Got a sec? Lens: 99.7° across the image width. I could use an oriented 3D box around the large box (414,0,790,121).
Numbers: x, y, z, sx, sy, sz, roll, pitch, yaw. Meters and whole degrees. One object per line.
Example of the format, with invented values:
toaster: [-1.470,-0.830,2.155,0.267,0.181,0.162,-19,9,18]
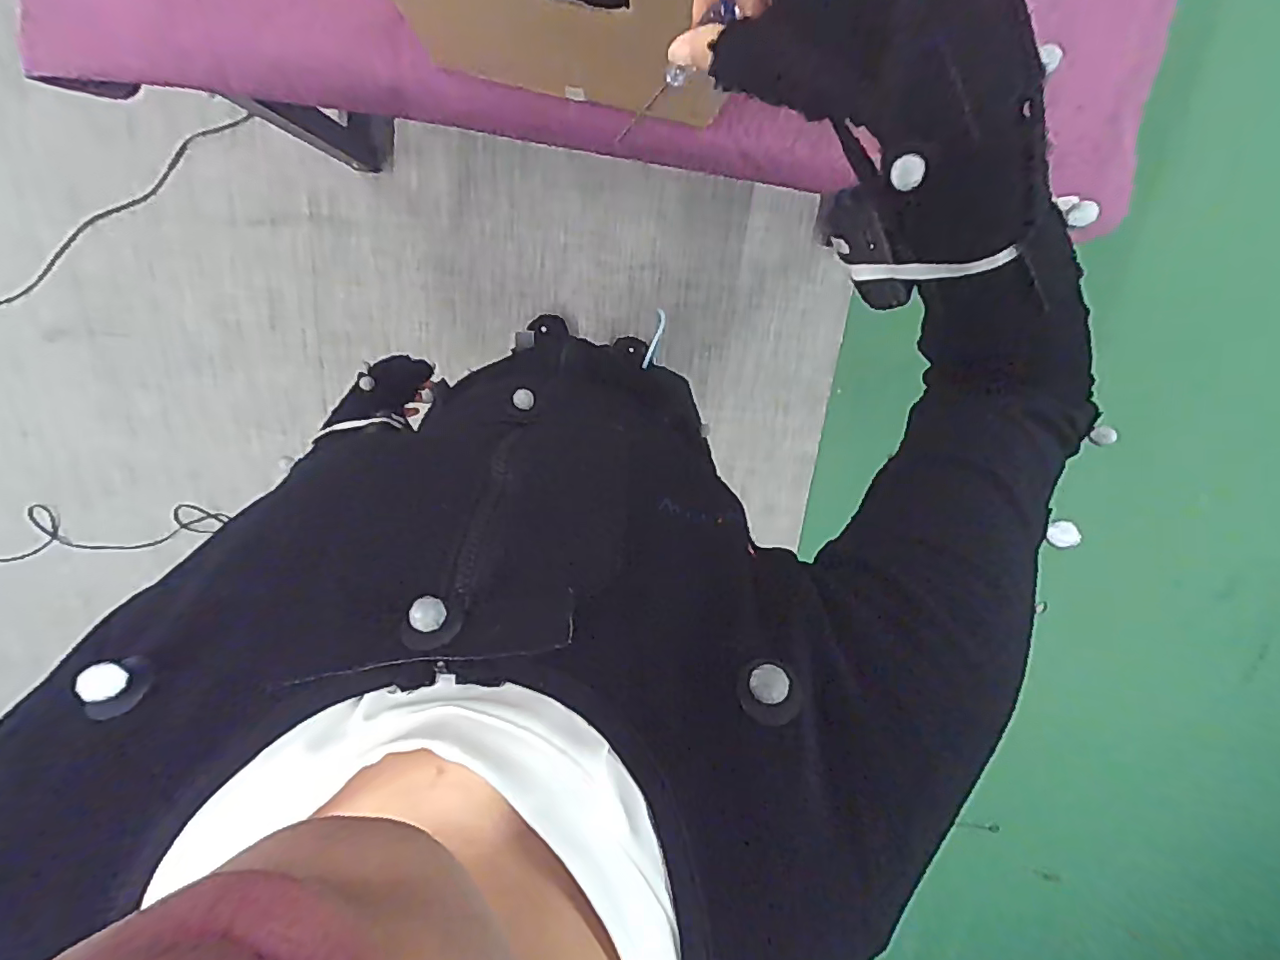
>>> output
large box: [-0.021,-0.582,0.421,0.320,0.320,0.408,9,107,-7]
